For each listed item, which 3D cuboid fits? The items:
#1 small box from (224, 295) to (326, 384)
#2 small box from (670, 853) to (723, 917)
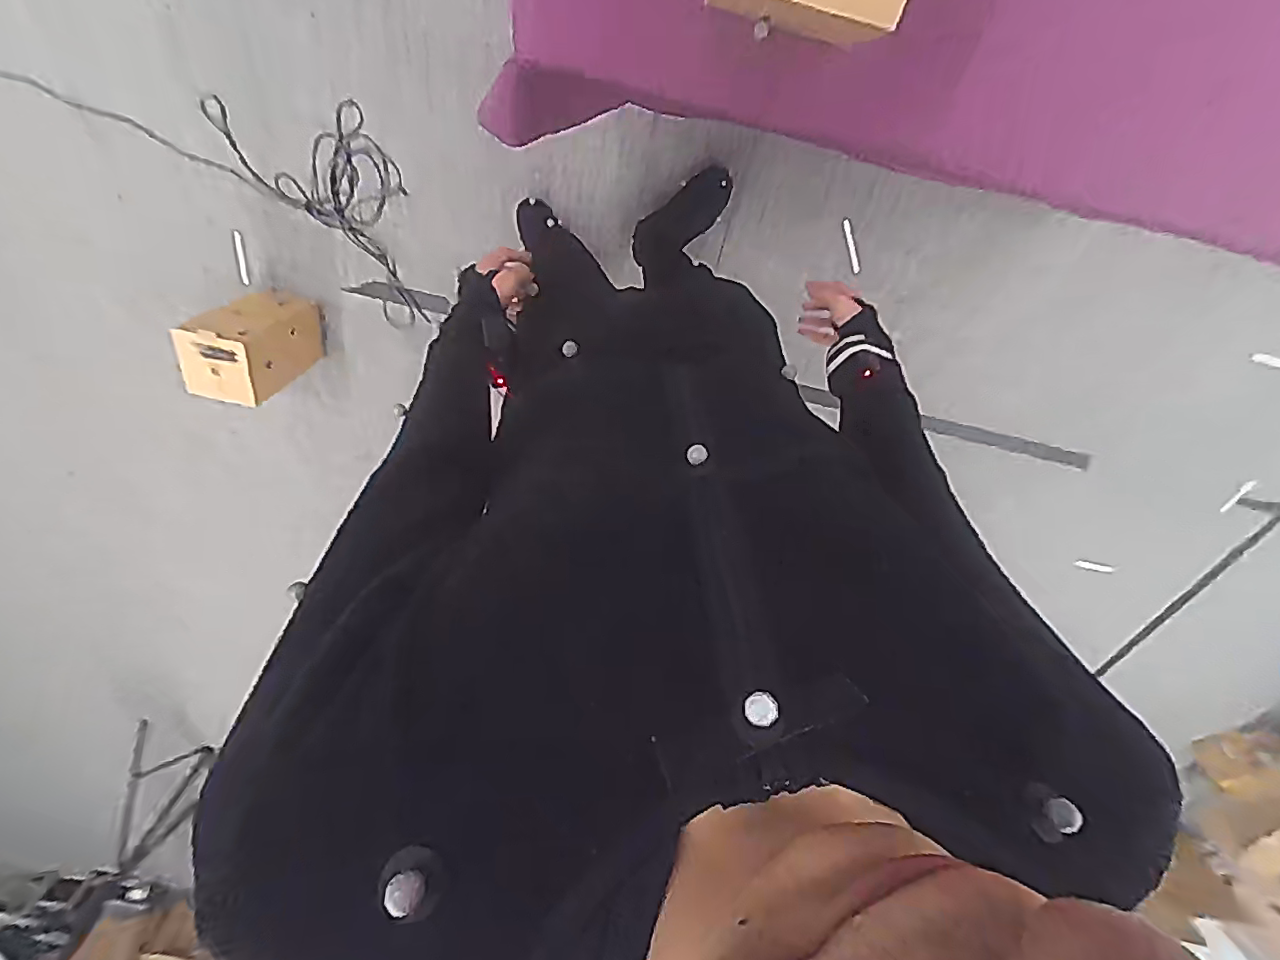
[{"bbox_3d":[-1.010,-0.396,1.515,0.168,0.176,0.179,11,124,-4],"label":"small box"},{"bbox_3d":[0.218,1.595,2.115,0.168,0.176,0.179,12,125,-5],"label":"small box"}]
